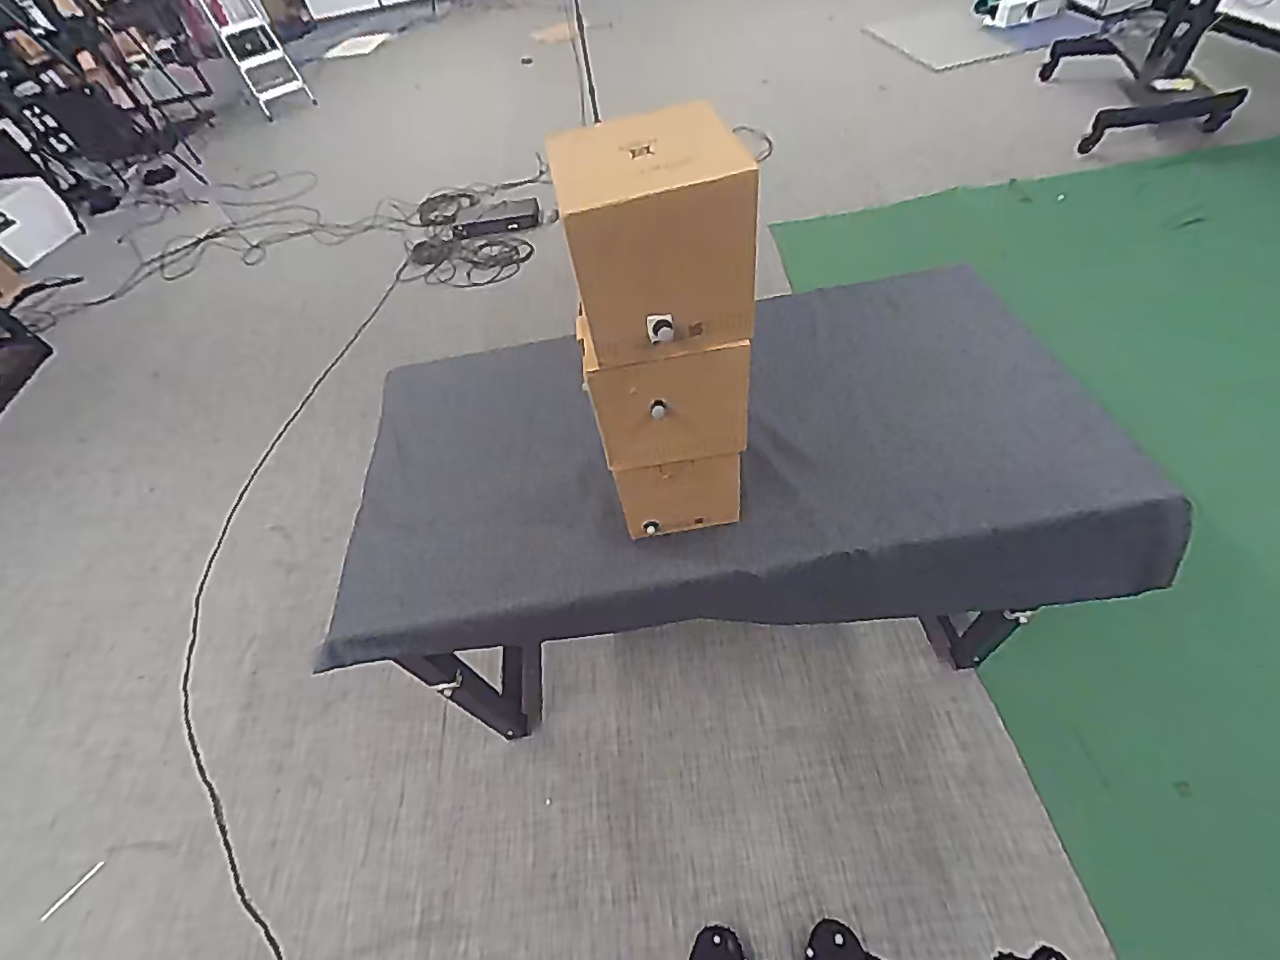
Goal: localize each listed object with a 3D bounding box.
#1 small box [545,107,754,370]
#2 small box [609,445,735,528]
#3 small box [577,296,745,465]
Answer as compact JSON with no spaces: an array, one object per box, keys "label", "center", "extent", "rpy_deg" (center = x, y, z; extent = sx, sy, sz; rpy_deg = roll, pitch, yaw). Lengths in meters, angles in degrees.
[{"label":"small box","center":[0.009,-0.243,0.553],"extent":[0.168,0.176,0.179],"rpy_deg":[-14,52,0]},{"label":"small box","center":[0.045,-0.042,0.807],"extent":[0.168,0.176,0.179],"rpy_deg":[-10,50,2]},{"label":"small box","center":[0.027,-0.137,0.679],"extent":[0.179,0.176,0.168],"rpy_deg":[-11,49,0]}]
